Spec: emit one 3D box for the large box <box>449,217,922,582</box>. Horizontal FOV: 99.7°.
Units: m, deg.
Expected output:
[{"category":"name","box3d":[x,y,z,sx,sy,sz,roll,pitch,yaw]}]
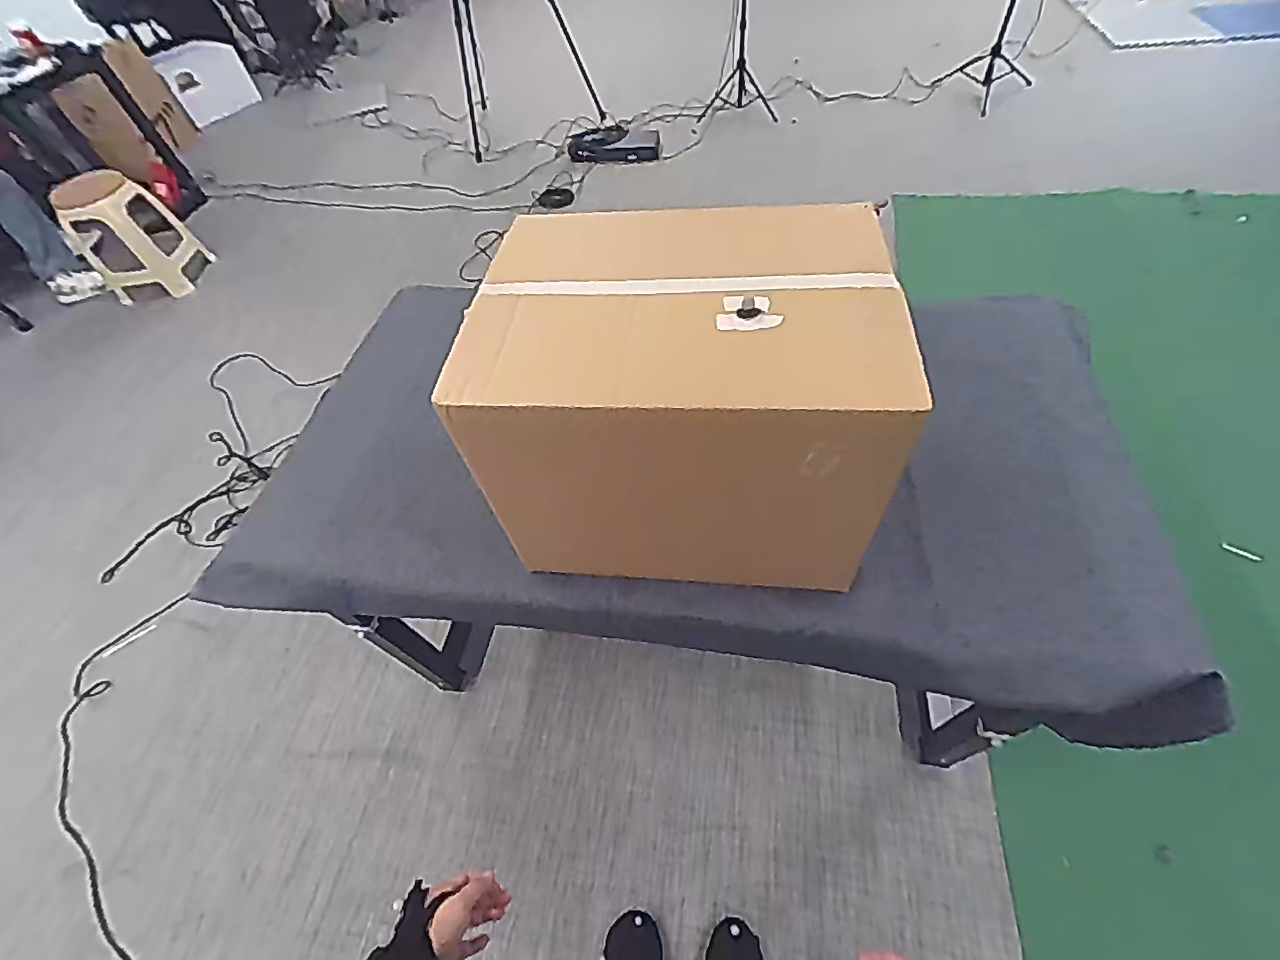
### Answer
[{"category":"large box","box3d":[0.052,-0.088,0.654,0.408,0.320,0.320,2,53,7]}]
